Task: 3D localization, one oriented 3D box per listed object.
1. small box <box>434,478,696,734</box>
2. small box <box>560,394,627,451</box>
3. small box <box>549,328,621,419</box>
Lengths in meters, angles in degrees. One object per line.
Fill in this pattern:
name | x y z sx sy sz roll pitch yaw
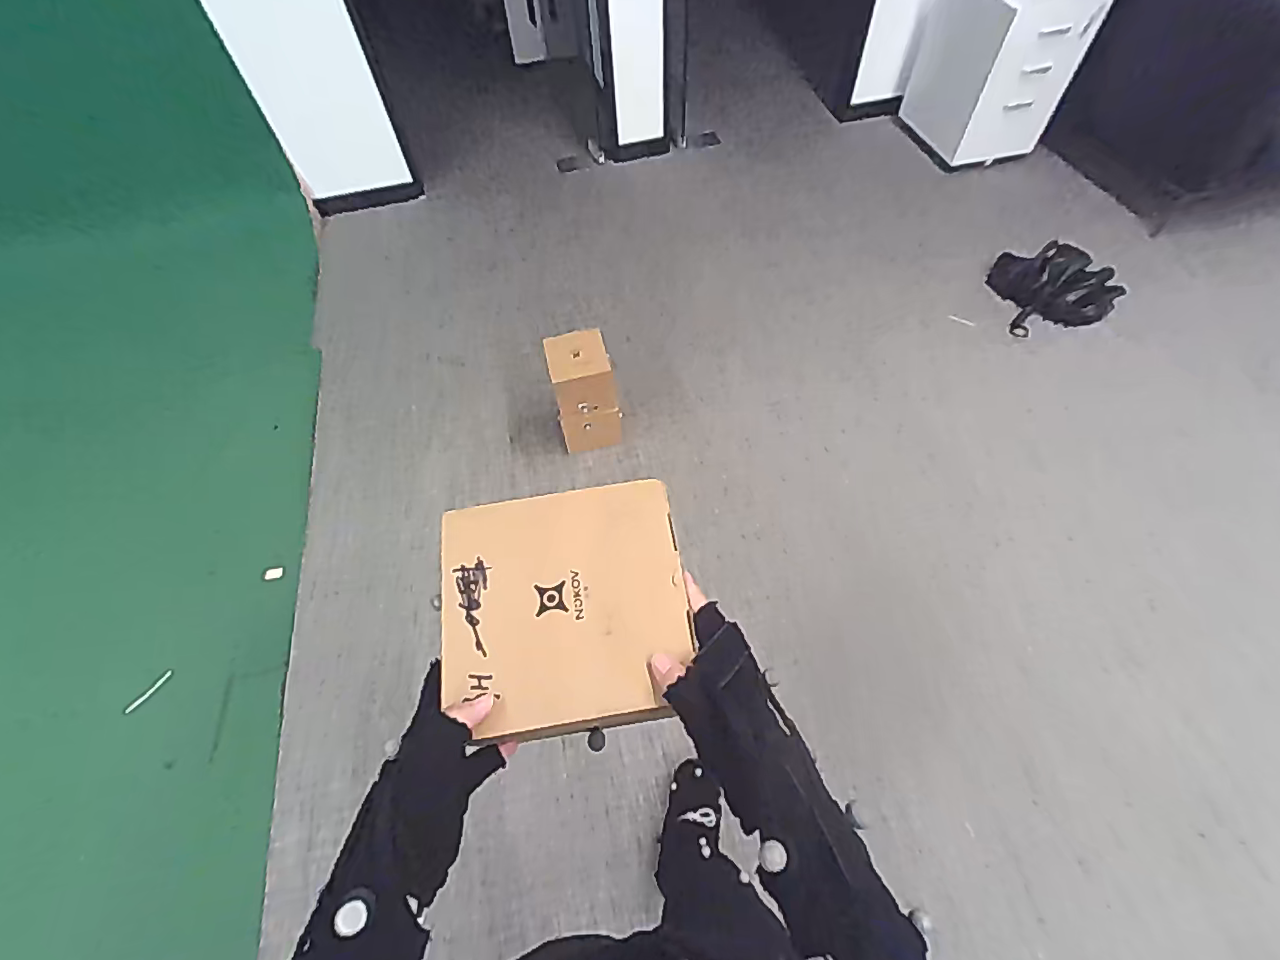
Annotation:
small box | -0.058 0.115 0.462 0.179 0.176 0.168 -8 63 -2
small box | -0.145 -0.211 1.696 0.179 0.176 0.168 -12 58 -4
small box | -0.157 -0.305 1.563 0.168 0.176 0.179 -14 59 -3
